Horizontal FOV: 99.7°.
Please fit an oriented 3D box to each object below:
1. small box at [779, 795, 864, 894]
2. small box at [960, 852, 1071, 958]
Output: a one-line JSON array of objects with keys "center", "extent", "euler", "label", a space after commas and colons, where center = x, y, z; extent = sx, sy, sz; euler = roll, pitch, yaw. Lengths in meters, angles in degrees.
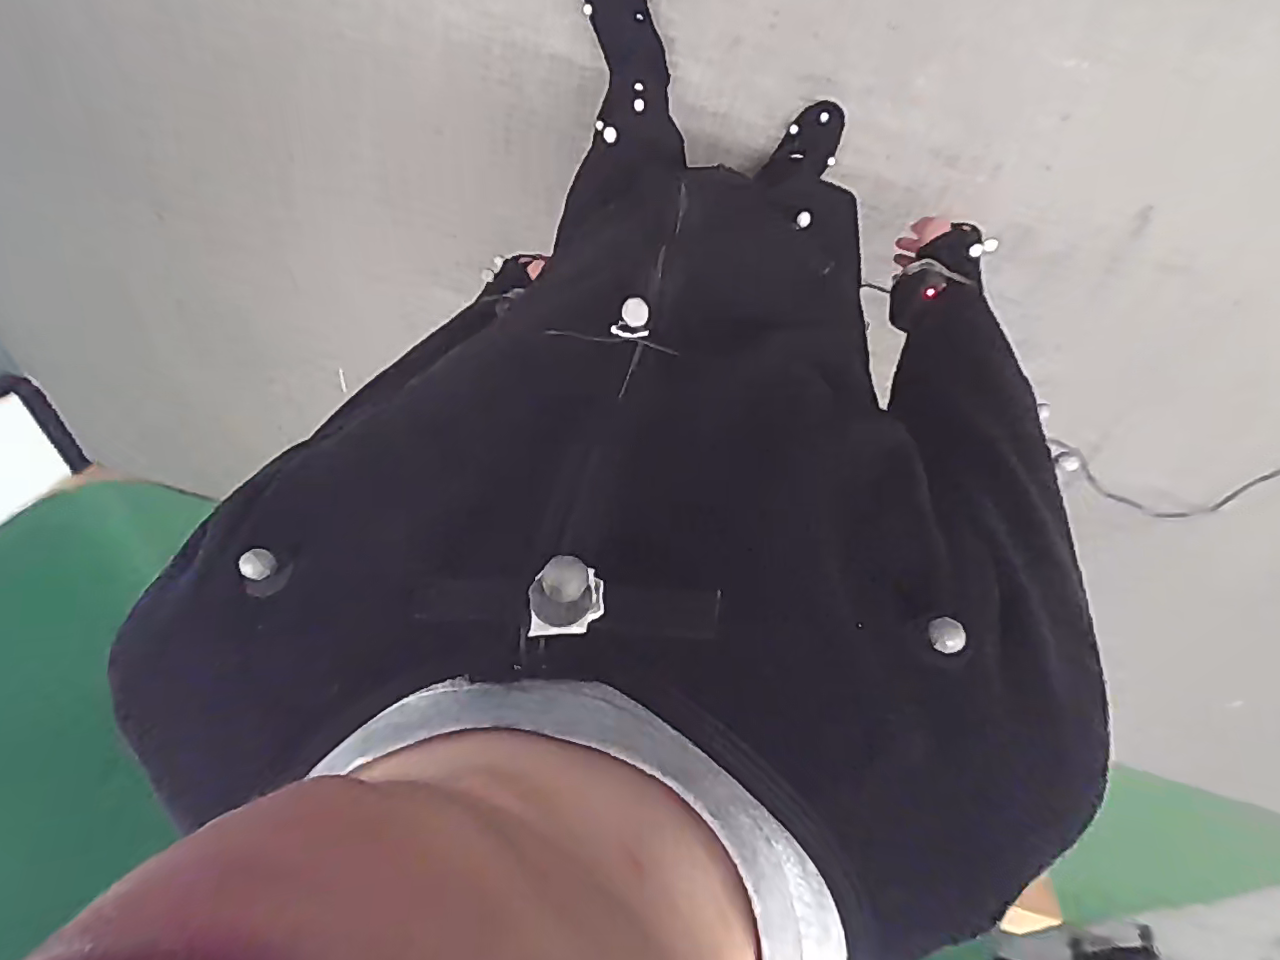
[{"center": [0.488, 0.992, 1.477], "extent": [0.168, 0.176, 0.179], "euler": [16, 133, 4], "label": "small box"}, {"center": [0.990, 1.136, 1.449], "extent": [0.168, 0.176, 0.179], "euler": [16, 131, 3], "label": "small box"}]
